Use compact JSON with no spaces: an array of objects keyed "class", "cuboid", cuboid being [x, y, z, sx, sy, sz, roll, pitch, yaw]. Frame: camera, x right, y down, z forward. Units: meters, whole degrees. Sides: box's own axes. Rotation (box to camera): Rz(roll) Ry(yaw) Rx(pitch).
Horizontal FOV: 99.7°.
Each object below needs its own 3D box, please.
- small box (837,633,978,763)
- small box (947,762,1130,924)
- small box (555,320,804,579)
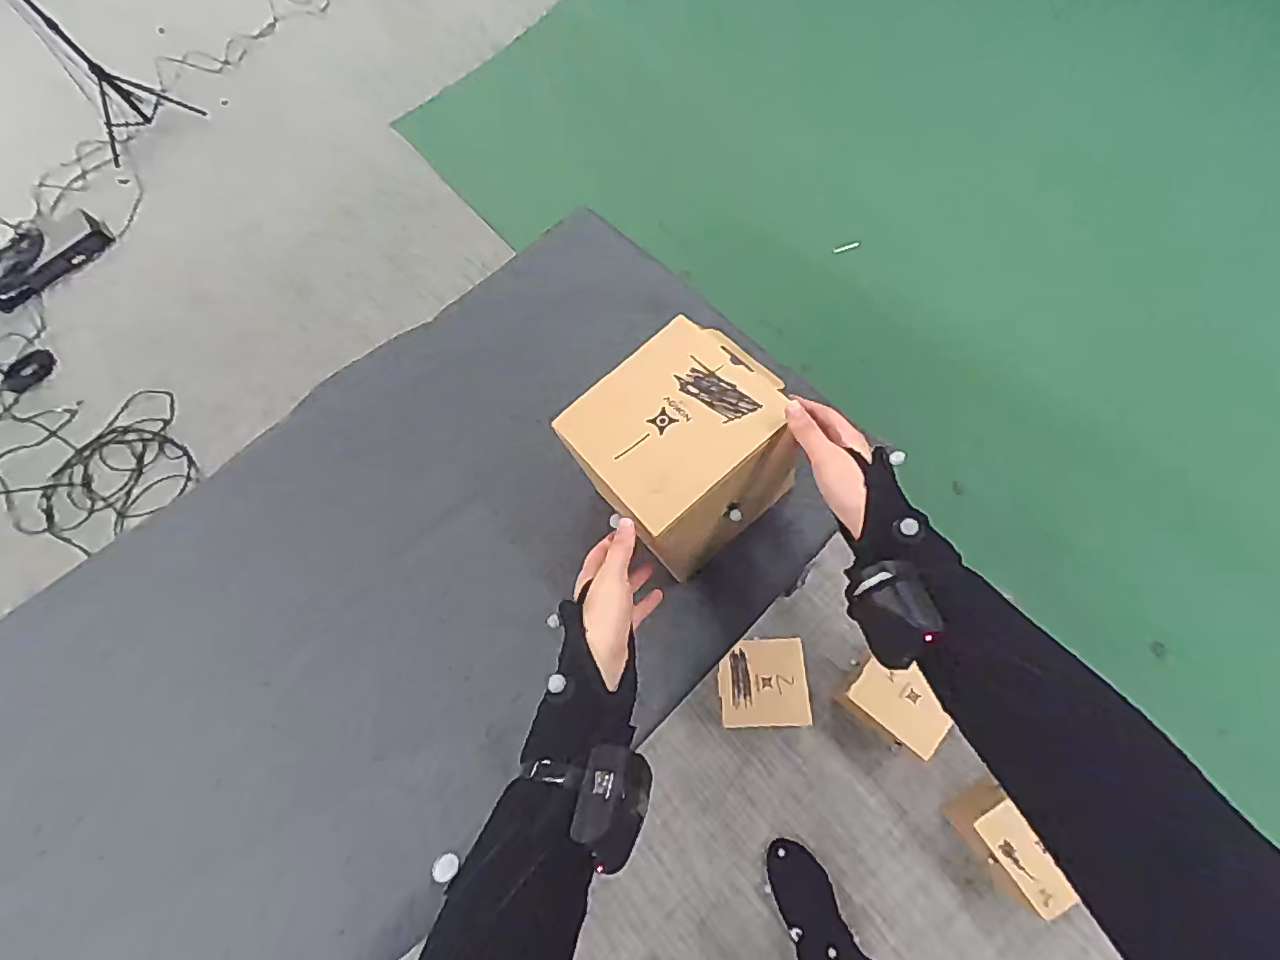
[{"class":"small box","cuboid":[0.531,0.436,1.102,0.179,0.176,0.168,38,79,21]},{"class":"small box","cuboid":[0.709,0.644,0.988,0.179,0.176,0.168,-32,68,-3]},{"class":"small box","cuboid":[0.046,-0.024,0.570,0.179,0.176,0.168,-40,64,-5]}]
